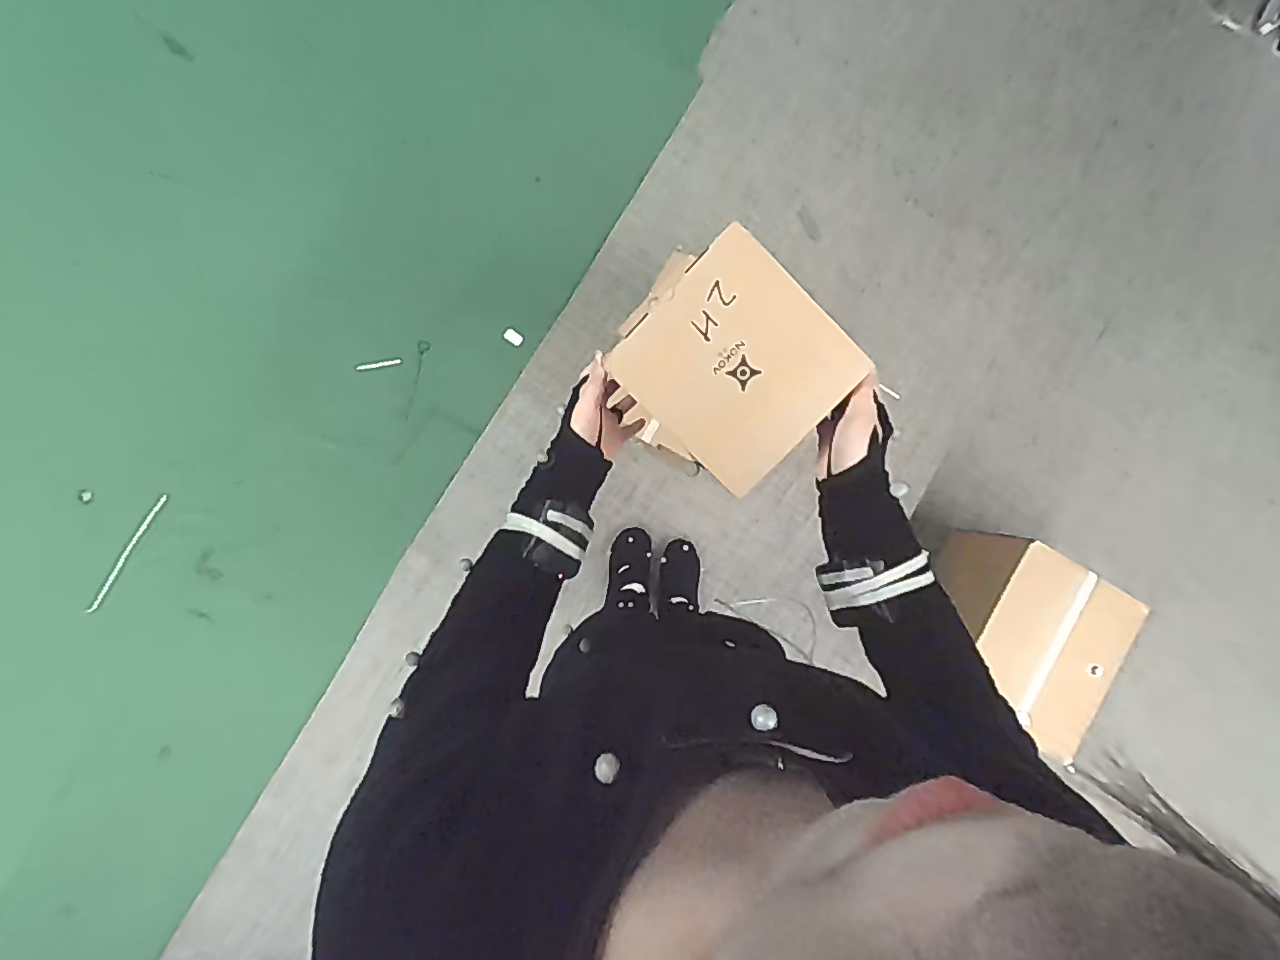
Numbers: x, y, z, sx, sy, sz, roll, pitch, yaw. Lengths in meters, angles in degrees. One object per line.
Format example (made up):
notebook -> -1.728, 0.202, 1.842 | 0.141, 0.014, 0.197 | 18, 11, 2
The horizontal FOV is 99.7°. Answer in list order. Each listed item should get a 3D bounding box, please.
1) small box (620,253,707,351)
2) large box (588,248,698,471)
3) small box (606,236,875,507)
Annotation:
small box -> 0.082, -0.249, 0.944 | 0.168, 0.176, 0.179 | 44, 90, 1
large box -> 0.107, -0.271, 1.351 | 0.320, 0.320, 0.408 | 30, 88, 0
small box -> 0.088, -0.103, 0.543 | 0.179, 0.176, 0.168 | 43, 97, -6
